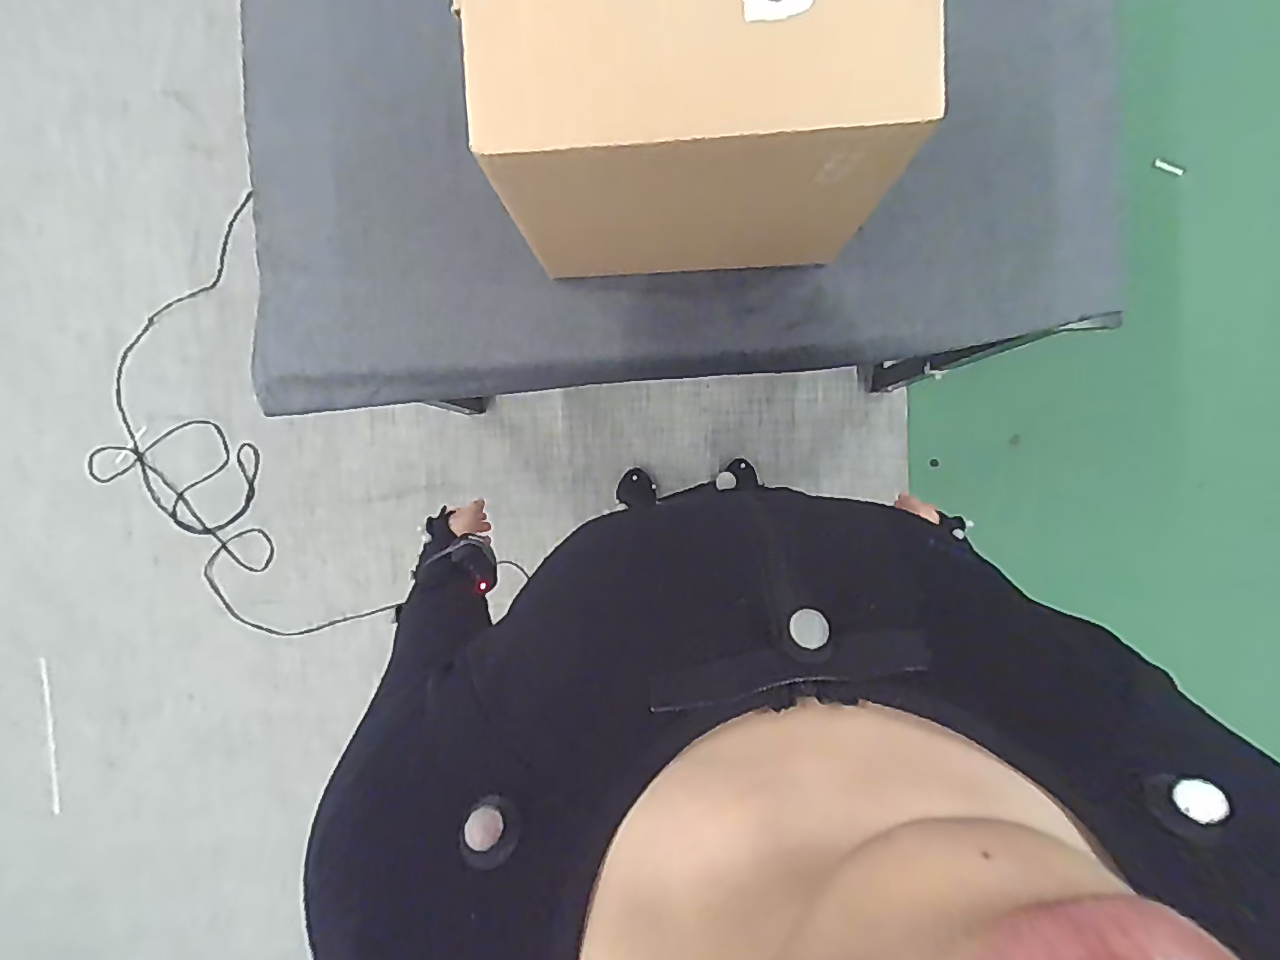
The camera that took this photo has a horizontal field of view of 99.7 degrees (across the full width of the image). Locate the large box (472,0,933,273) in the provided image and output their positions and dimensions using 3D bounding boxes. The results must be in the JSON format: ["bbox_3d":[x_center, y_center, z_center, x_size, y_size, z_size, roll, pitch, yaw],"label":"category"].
[{"bbox_3d":[0.052,-0.458,0.620,0.408,0.320,0.320,-3,92,3],"label":"large box"}]
